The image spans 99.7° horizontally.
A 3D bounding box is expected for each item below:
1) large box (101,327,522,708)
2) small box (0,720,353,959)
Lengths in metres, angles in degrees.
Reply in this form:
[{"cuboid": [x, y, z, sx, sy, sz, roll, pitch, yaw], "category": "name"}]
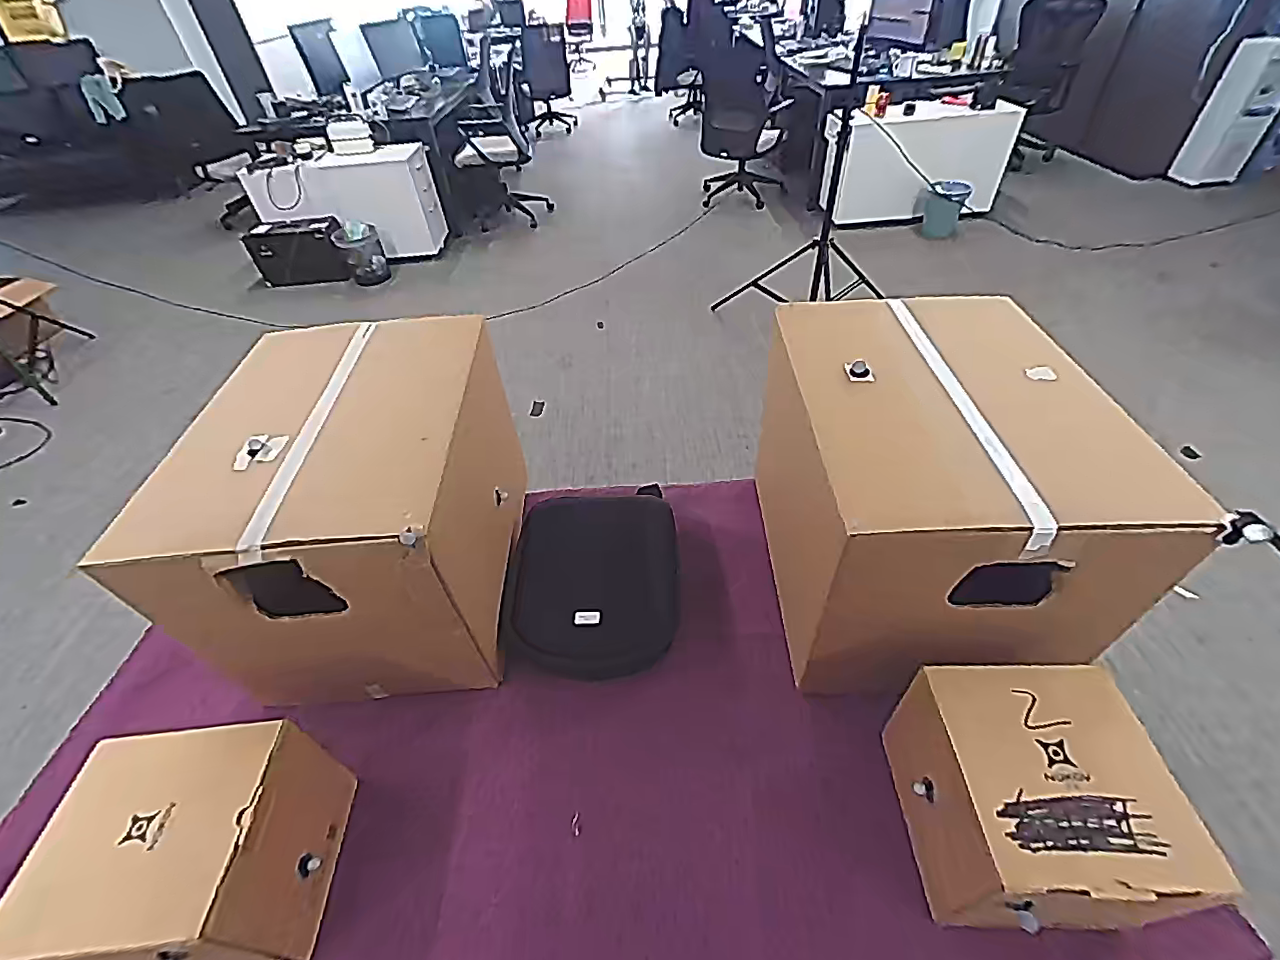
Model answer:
[{"cuboid": [-0.349, 0.040, 0.733, 0.320, 0.320, 0.408, -6, 46, -1], "category": "large box"}, {"cuboid": [-0.412, 0.354, 0.512, 0.179, 0.176, 0.168, -6, 43, -3], "category": "small box"}]
